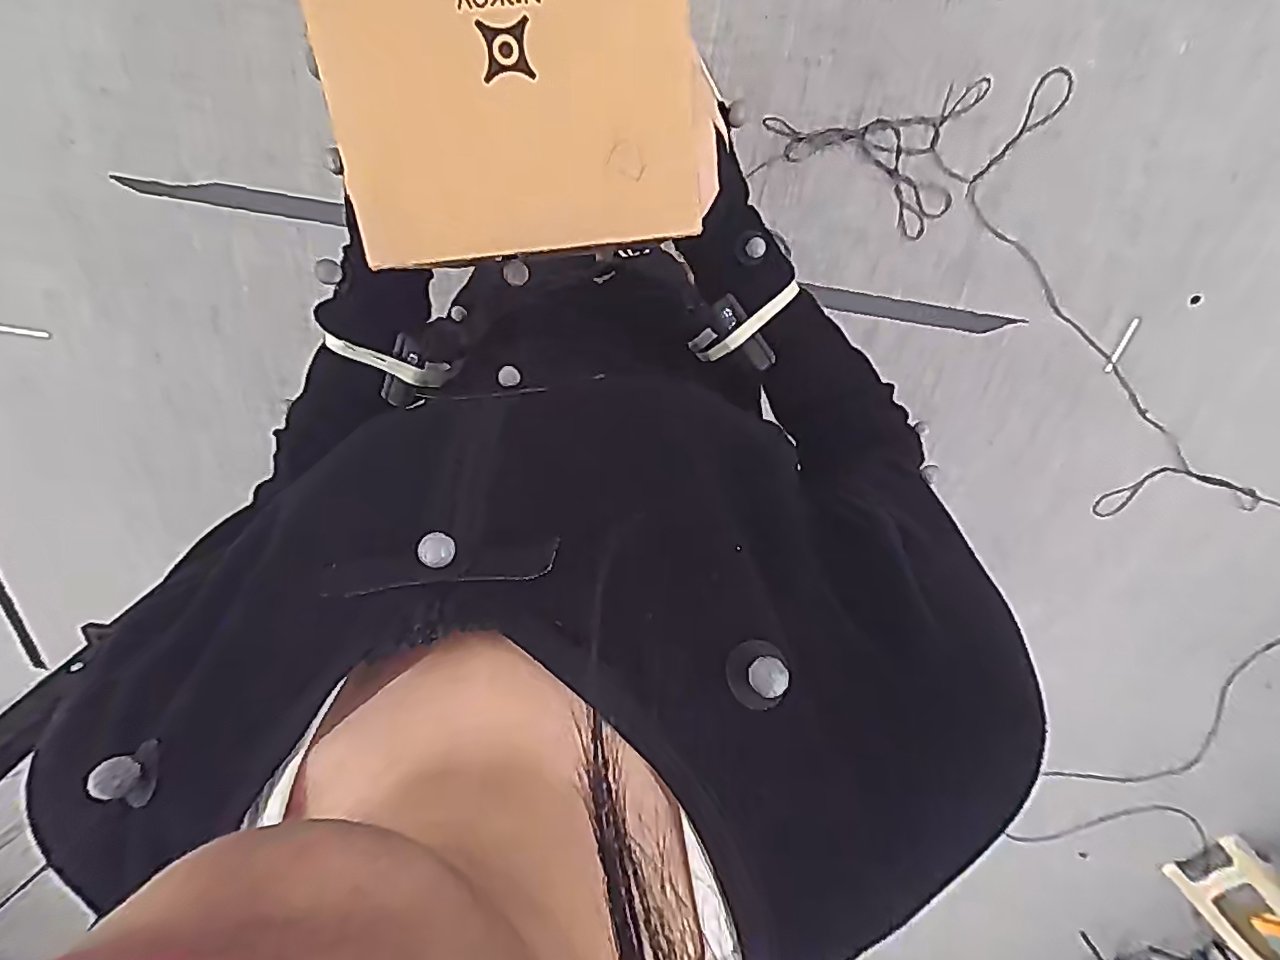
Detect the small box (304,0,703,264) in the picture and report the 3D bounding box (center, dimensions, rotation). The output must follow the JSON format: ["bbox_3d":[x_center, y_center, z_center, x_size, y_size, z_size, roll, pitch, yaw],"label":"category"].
[{"bbox_3d":[-0.062,-0.222,0.305,0.168,0.176,0.179,-7,111,-2],"label":"small box"}]
